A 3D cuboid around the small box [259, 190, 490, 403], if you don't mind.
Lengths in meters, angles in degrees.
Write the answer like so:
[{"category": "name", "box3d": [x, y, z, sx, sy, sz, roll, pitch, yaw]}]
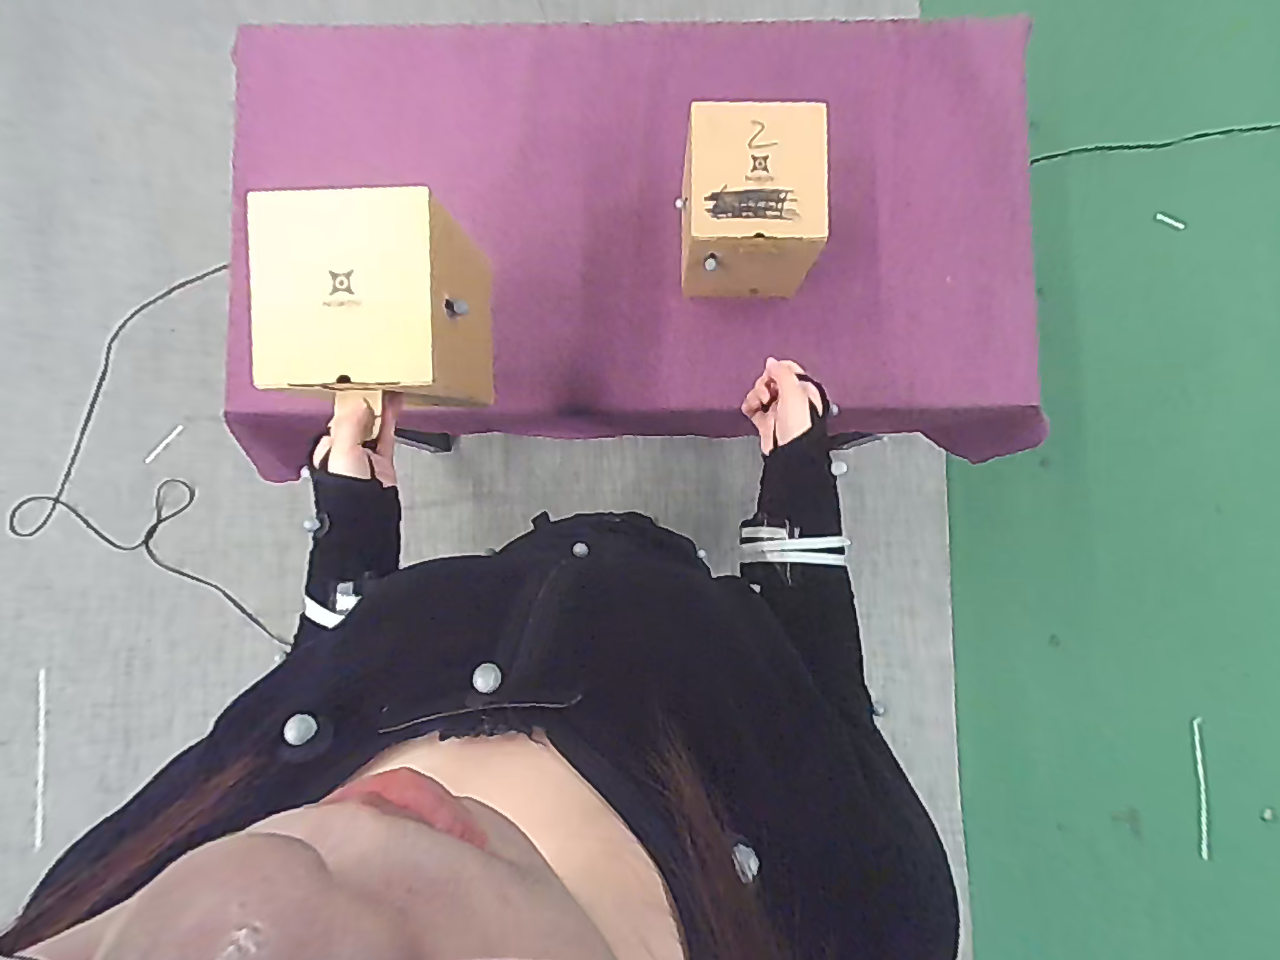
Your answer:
[{"category": "small box", "box3d": [-0.265, -0.179, 0.575, 0.168, 0.176, 0.179, 0, 92, 2]}]
